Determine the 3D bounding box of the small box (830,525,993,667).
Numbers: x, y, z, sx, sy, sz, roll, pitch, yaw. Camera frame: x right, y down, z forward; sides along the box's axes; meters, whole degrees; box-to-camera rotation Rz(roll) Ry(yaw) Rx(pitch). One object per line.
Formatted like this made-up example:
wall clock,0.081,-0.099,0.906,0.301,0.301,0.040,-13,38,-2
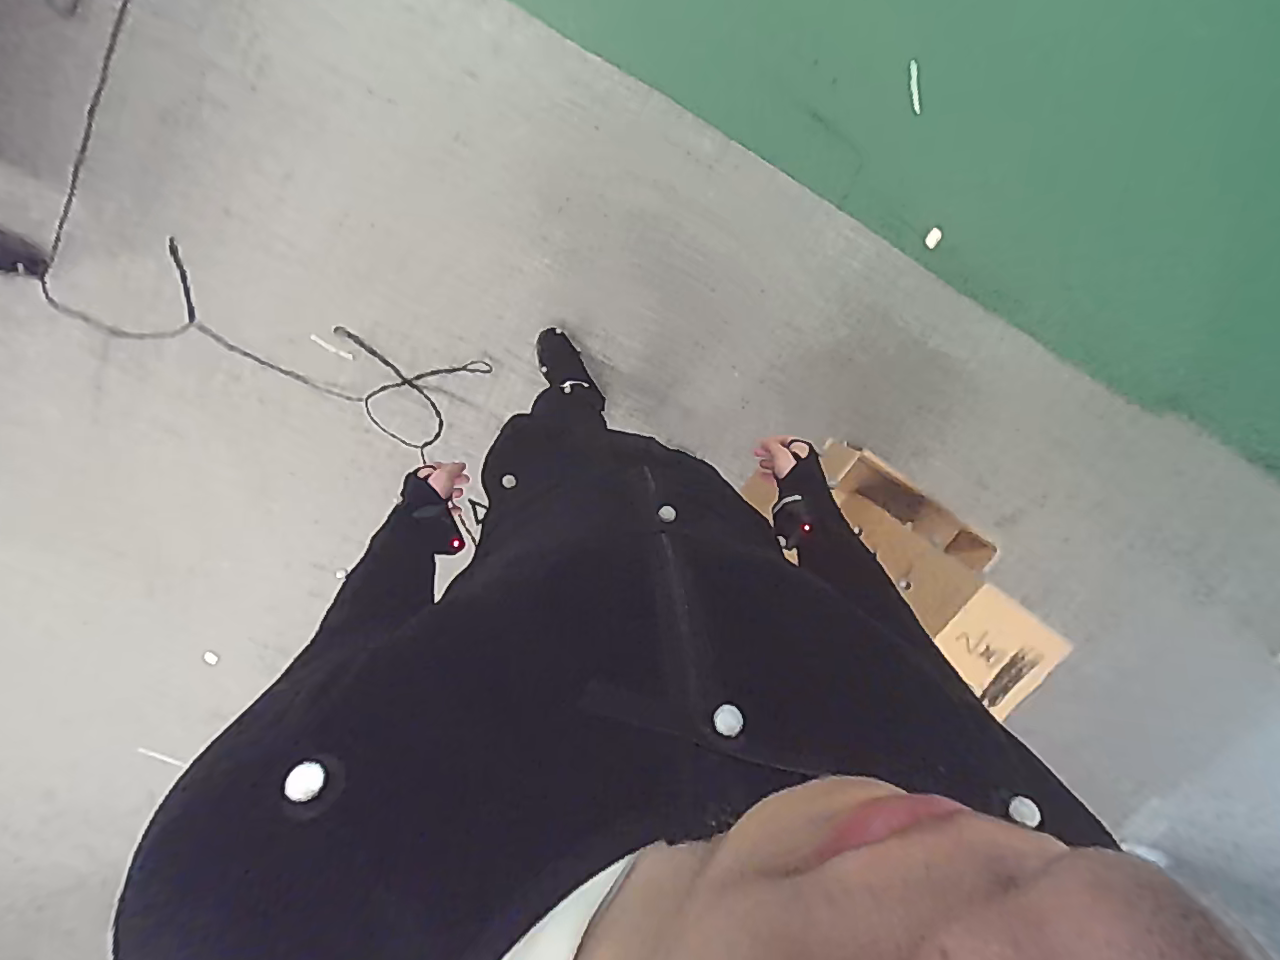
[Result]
small box,0.491,0.203,1.008,0.179,0.176,0.168,34,101,-8
